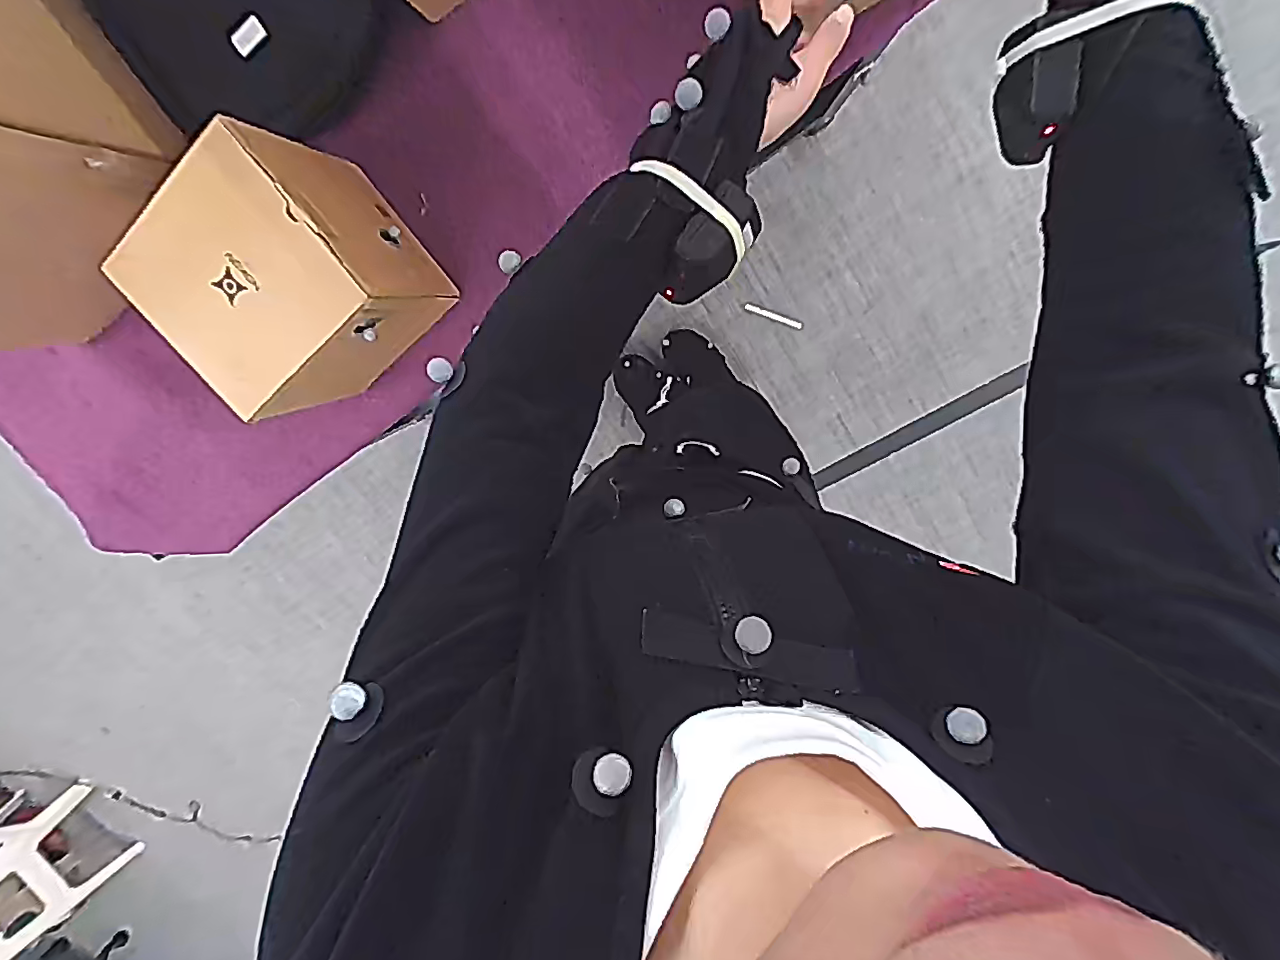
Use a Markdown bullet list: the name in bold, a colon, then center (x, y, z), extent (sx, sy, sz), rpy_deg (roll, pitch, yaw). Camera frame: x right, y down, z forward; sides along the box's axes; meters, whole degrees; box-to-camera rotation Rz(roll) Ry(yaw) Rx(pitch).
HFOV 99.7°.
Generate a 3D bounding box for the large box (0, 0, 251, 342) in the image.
- **large box**: center (-0.654, -0.355, 0.425), extent (0.320, 0.320, 0.408), rpy_deg (-32, 106, 16)
